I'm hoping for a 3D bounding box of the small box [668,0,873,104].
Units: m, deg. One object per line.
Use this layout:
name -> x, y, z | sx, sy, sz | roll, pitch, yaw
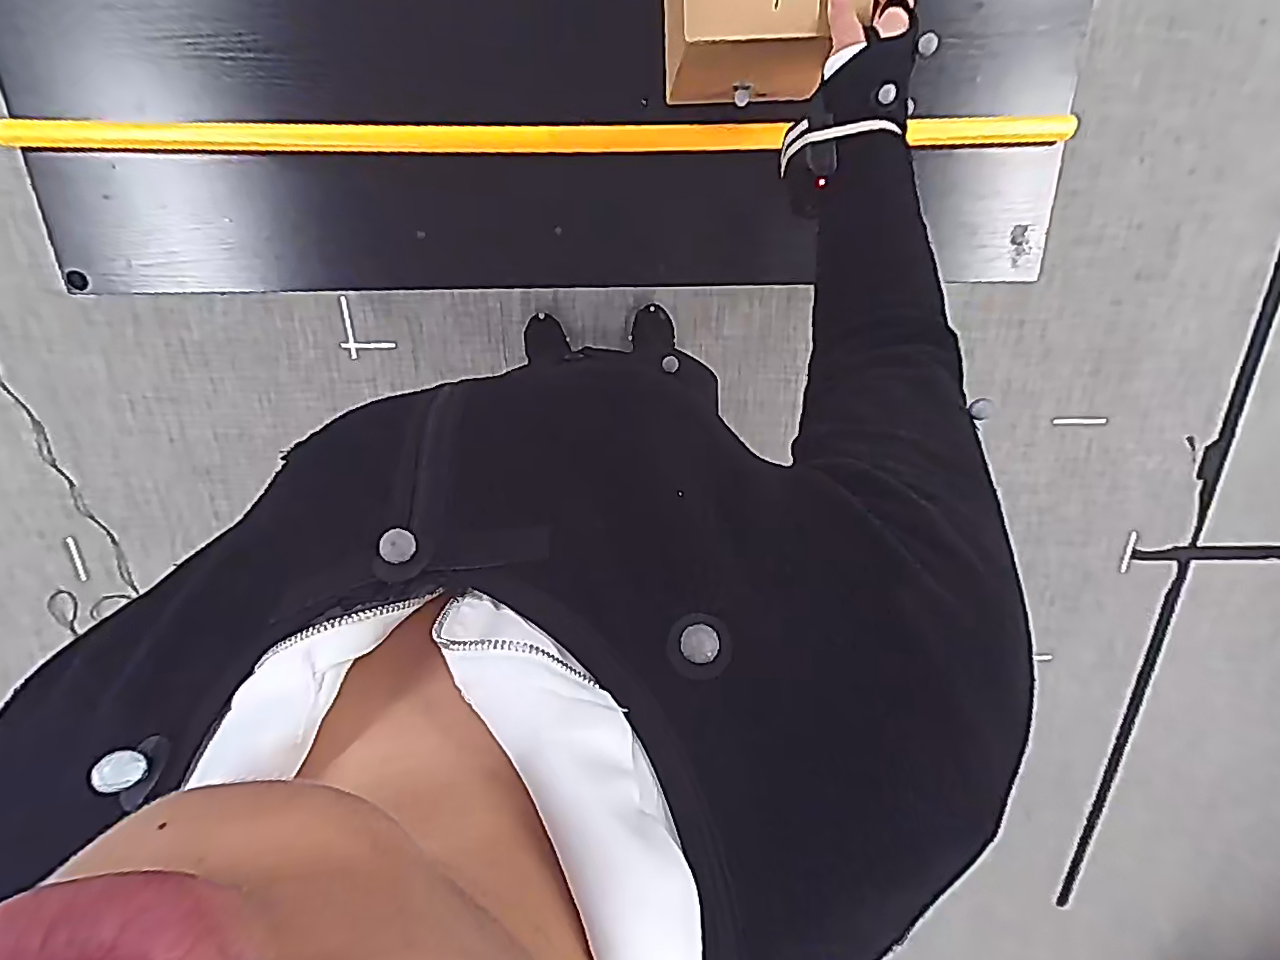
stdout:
small box -> 0.115, -0.492, 0.519 | 0.168, 0.176, 0.179 | -2, 109, -1
